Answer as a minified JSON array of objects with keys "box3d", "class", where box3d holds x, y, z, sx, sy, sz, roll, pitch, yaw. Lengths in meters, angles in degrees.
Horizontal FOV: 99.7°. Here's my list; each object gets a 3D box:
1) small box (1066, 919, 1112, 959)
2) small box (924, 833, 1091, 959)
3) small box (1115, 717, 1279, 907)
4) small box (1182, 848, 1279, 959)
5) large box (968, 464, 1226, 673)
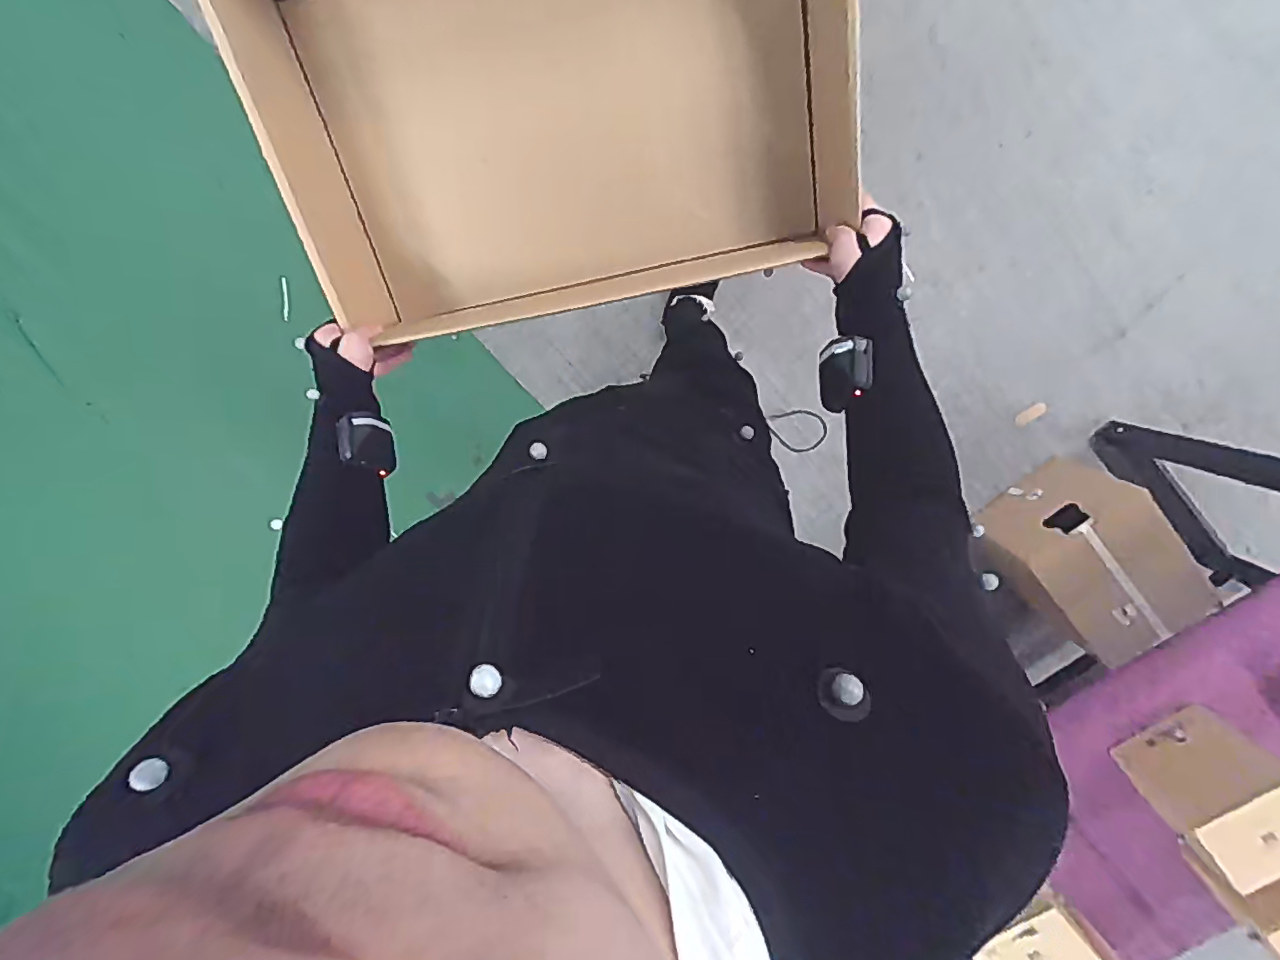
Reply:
[{"box3d":[0.856,1.000,1.029,0.168,0.176,0.179,-40,100,11],"class":"small box"},{"box3d":[0.663,0.793,0.980,0.168,0.176,0.179,-39,103,12],"class":"small box"},{"box3d":[0.957,0.535,0.890,0.168,0.176,0.179,-39,101,12],"class":"small box"},{"box3d":[1.130,0.742,0.943,0.168,0.176,0.179,-39,100,13],"class":"small box"},{"box3d":[1.212,0.226,1.475,0.320,0.320,0.408,-41,101,14],"class":"large box"}]
